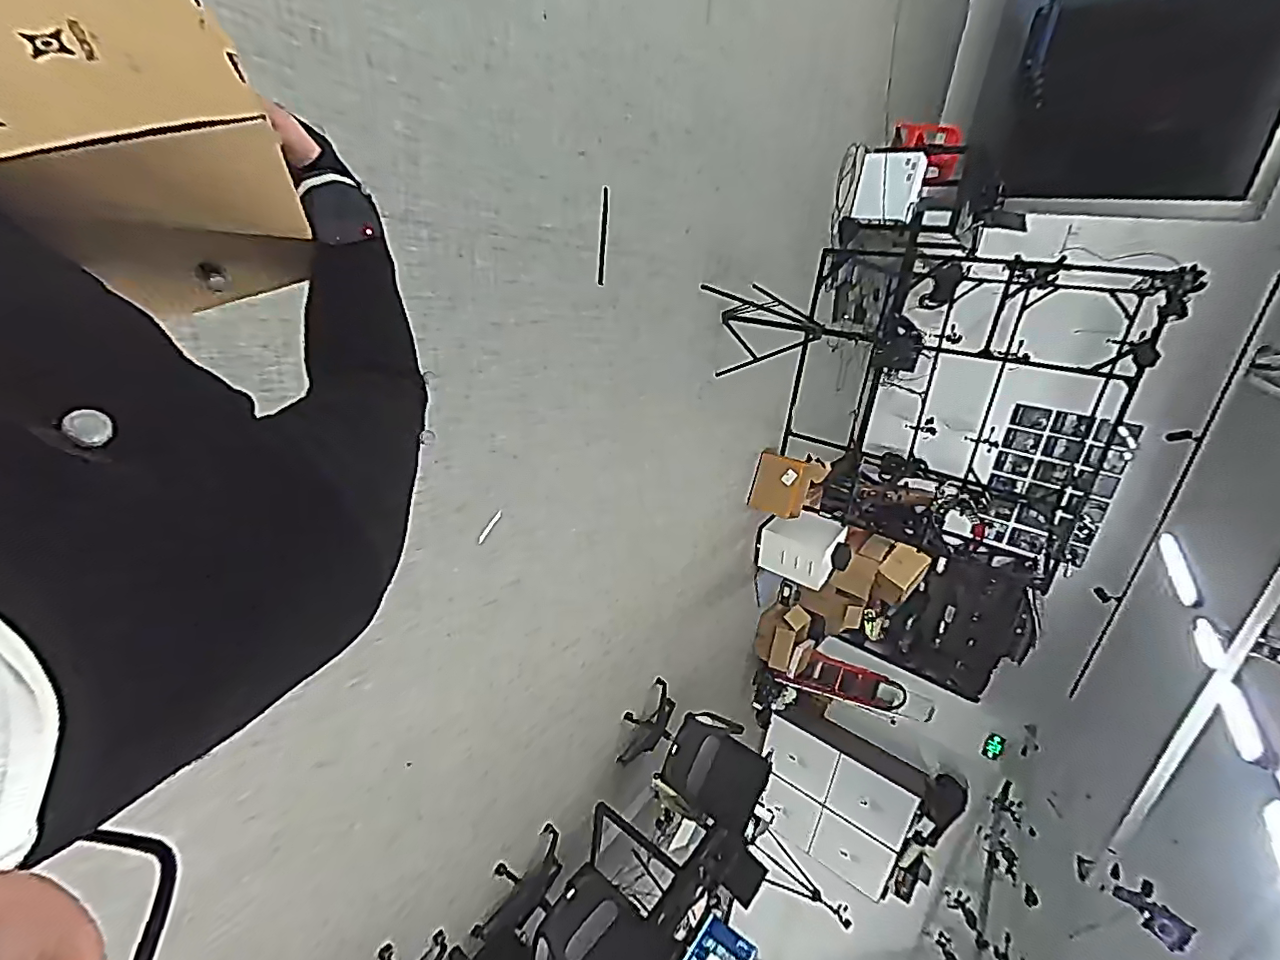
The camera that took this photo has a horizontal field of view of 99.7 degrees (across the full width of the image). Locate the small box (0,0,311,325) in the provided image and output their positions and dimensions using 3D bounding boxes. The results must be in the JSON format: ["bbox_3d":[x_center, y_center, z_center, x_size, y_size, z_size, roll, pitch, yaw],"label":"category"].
[{"bbox_3d":[-0.401,-0.260,0.443,0.179,0.168,0.176,-30,171,-24],"label":"small box"}]
